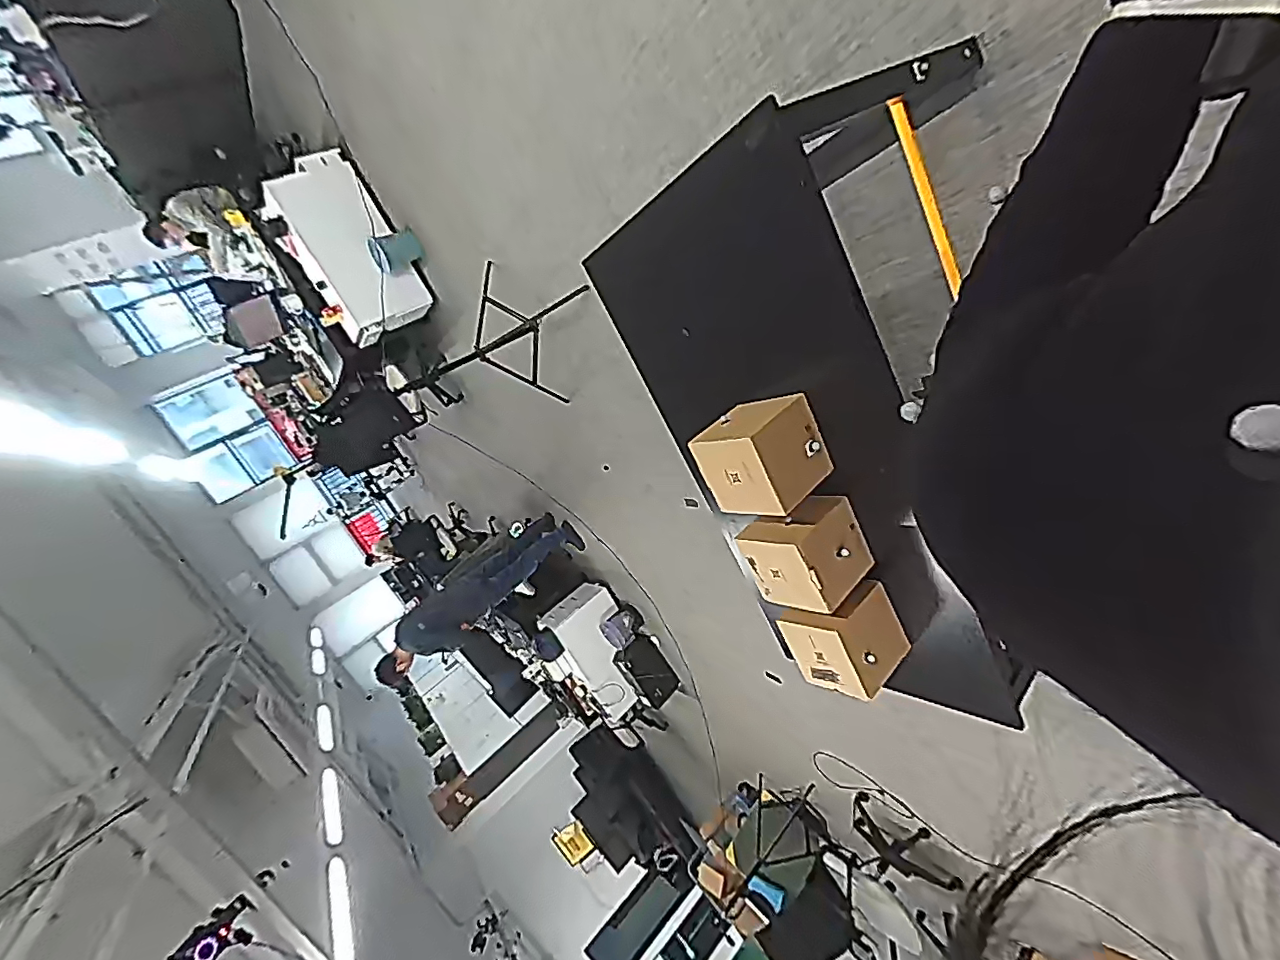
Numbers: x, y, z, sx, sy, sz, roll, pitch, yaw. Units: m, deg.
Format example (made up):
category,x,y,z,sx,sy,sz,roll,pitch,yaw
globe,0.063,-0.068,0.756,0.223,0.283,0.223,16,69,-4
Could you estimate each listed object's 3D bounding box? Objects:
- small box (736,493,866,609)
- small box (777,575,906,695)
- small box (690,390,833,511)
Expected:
category,x,y,z,sx,sy,sz,roll,pitch,yaw
small box,0.337,0.136,1.110,0.179,0.176,0.168,-3,120,57
small box,0.436,0.320,1.163,0.168,0.176,0.179,-8,114,59
small box,0.236,-0.056,1.050,0.179,0.176,0.168,-3,121,57
